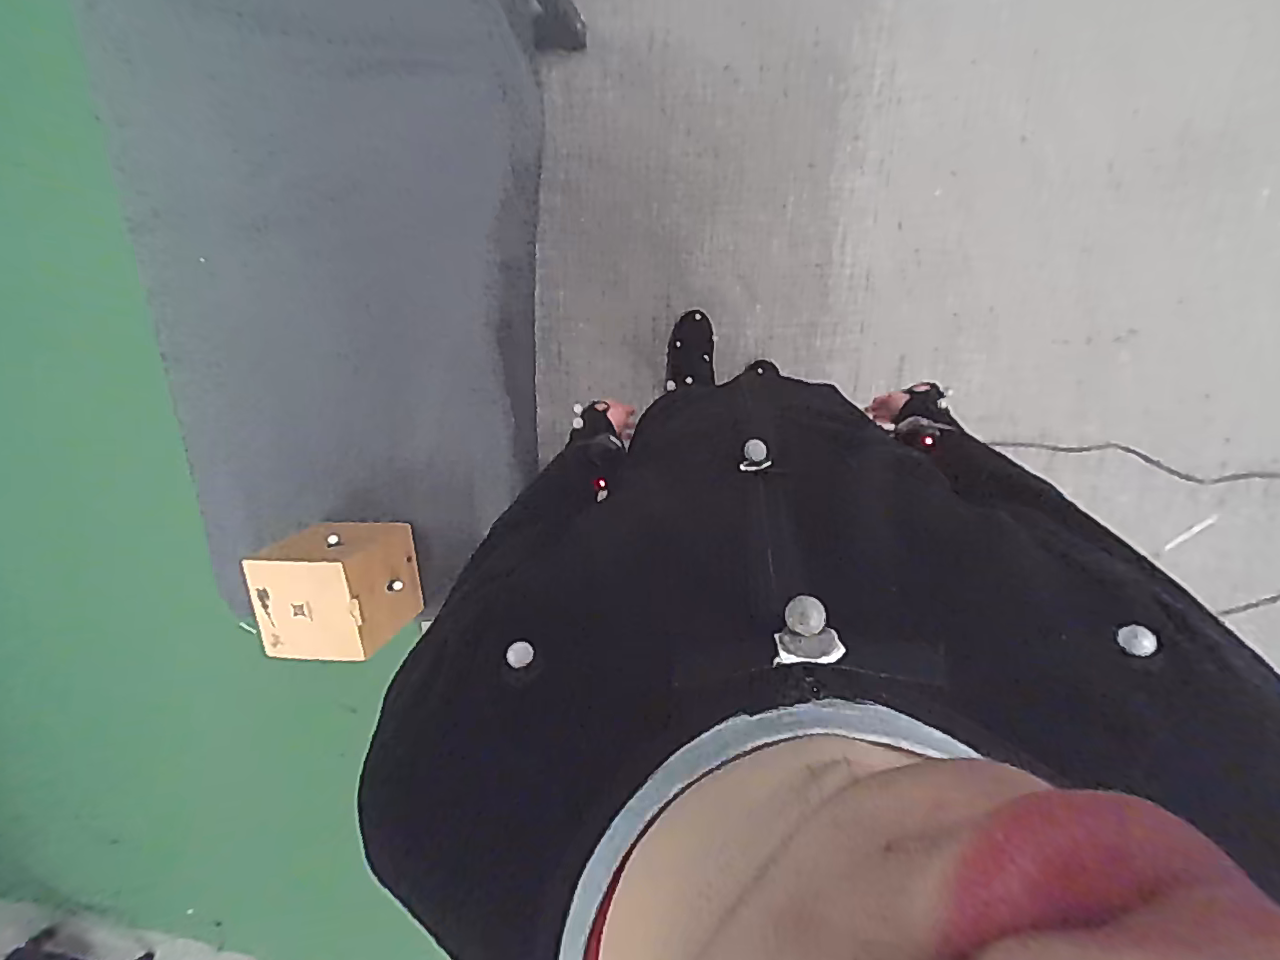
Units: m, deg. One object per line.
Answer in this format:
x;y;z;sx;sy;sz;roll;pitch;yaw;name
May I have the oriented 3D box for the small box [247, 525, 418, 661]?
-0.488;0.177;0.893;0.179;0.176;0.168;-1;105;8;small box
